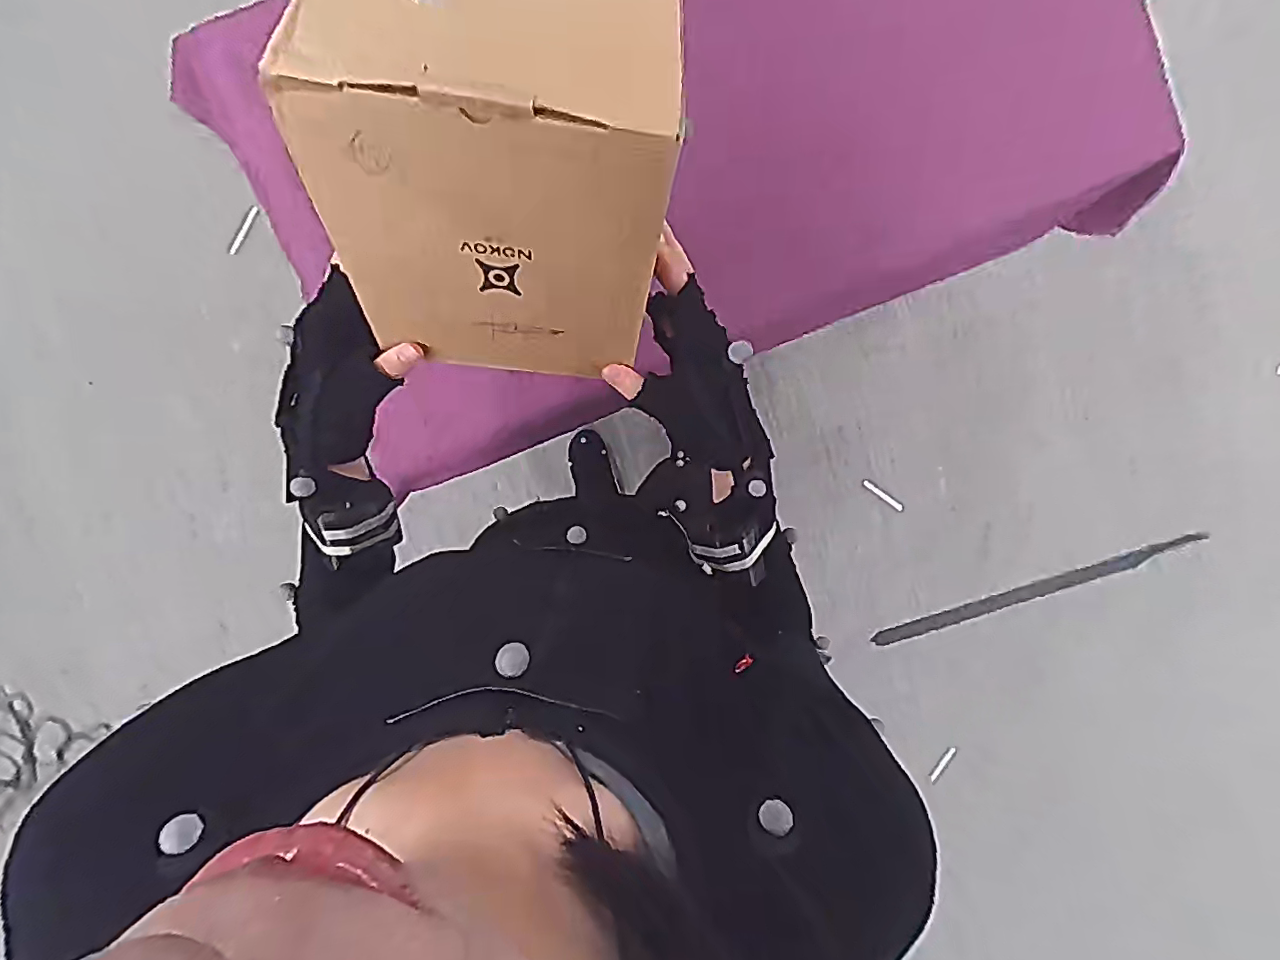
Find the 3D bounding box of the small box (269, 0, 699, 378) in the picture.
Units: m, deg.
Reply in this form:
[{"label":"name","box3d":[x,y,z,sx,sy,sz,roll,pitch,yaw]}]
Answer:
[{"label":"small box","box3d":[-0.067,-0.185,0.314,0.168,0.179,0.176,6,66,-7]}]
